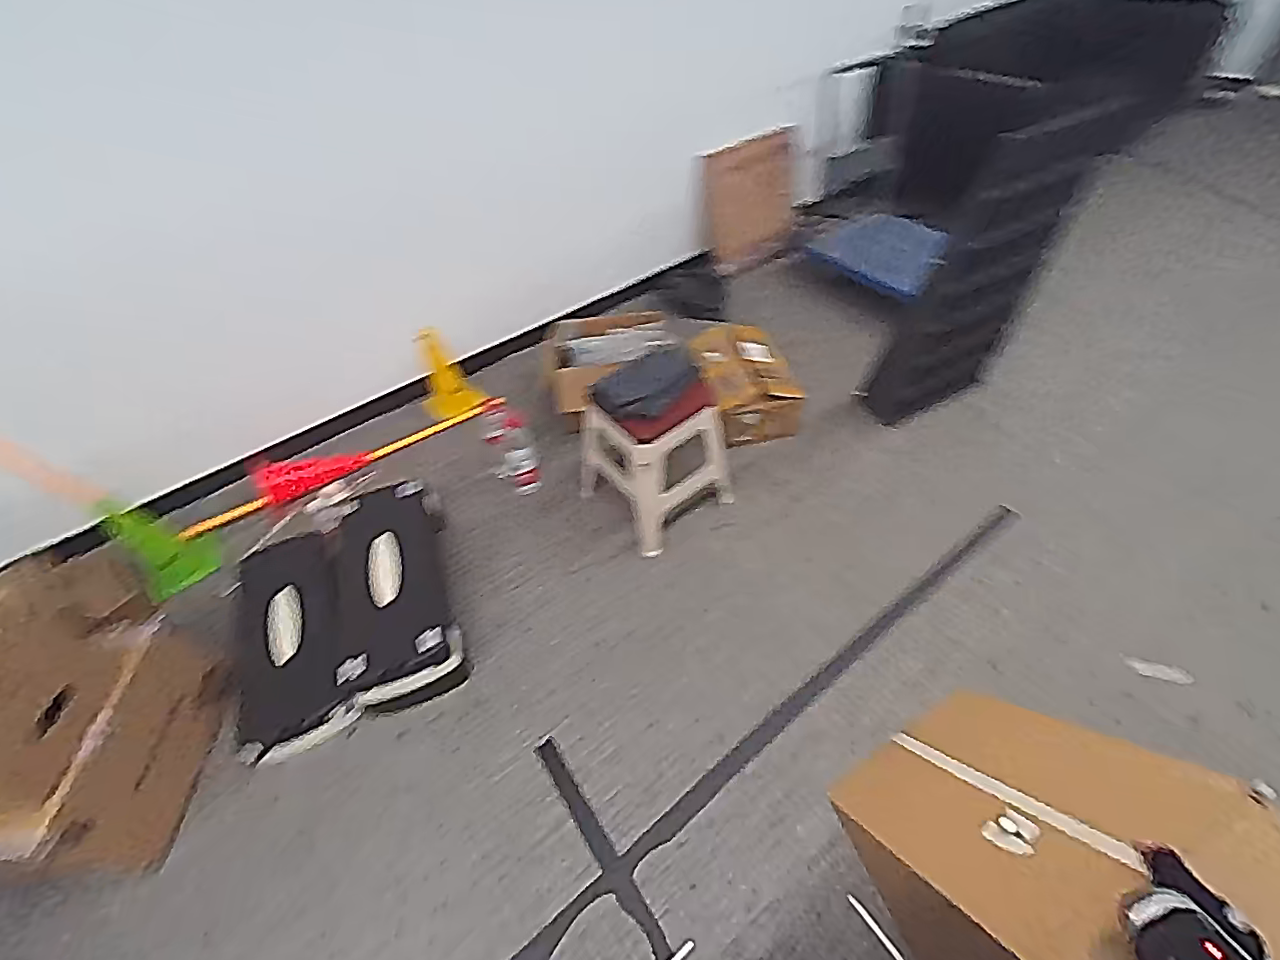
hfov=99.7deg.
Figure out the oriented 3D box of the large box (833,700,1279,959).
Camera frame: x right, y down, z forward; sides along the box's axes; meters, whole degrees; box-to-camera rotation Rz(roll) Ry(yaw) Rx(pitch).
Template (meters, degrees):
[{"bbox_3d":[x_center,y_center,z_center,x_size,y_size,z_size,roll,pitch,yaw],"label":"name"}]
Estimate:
[{"bbox_3d":[0.547,0.560,0.711,0.320,0.408,0.320,-29,91,-13],"label":"large box"}]
